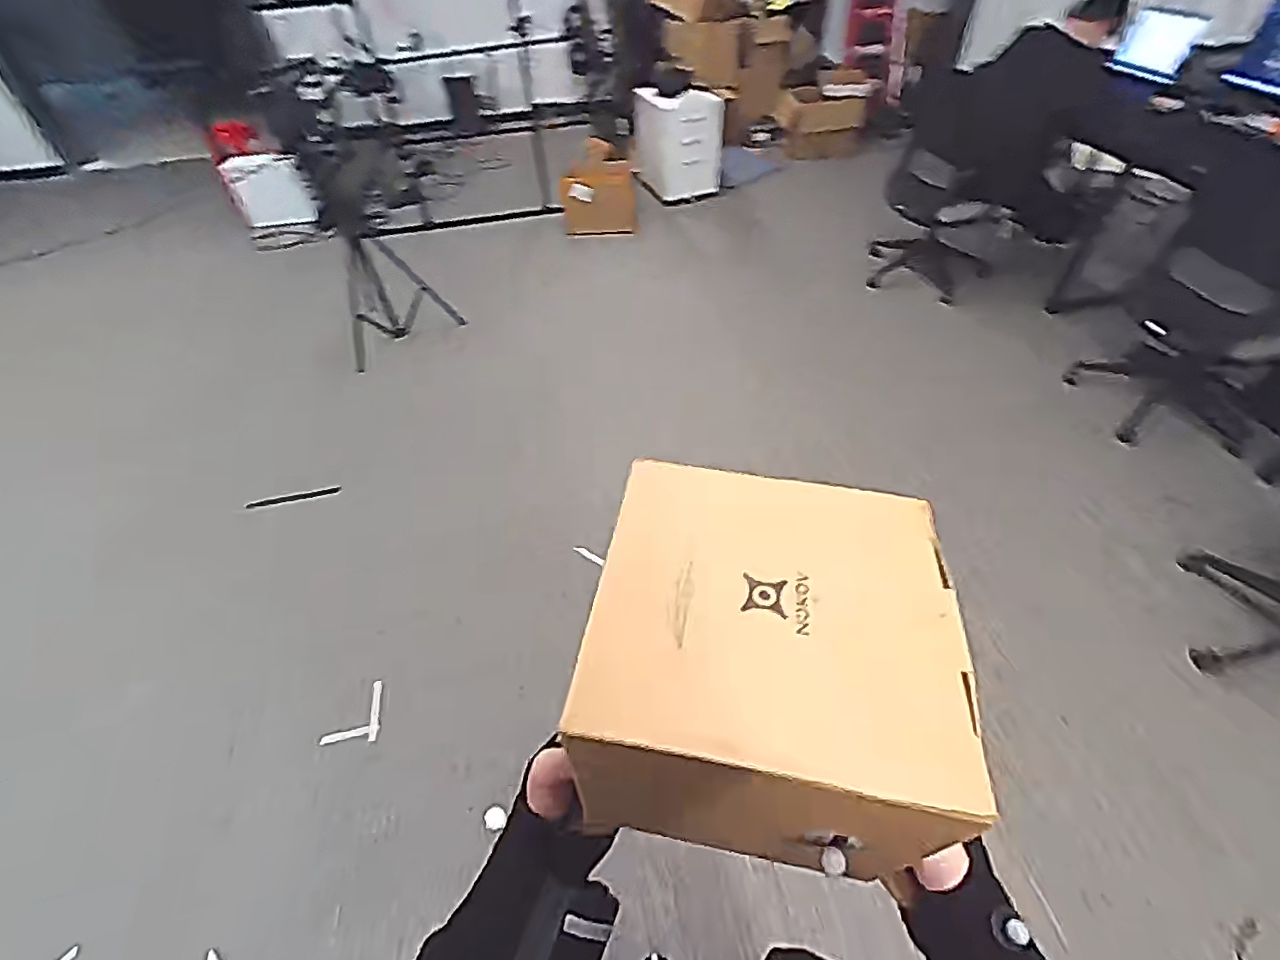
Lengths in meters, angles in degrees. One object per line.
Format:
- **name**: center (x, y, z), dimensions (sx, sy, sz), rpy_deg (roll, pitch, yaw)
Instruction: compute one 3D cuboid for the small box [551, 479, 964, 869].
- **small box**: center (0.060, 0.123, 0.338), dimensions (0.179, 0.176, 0.168), rpy_deg (6, 47, 7)
